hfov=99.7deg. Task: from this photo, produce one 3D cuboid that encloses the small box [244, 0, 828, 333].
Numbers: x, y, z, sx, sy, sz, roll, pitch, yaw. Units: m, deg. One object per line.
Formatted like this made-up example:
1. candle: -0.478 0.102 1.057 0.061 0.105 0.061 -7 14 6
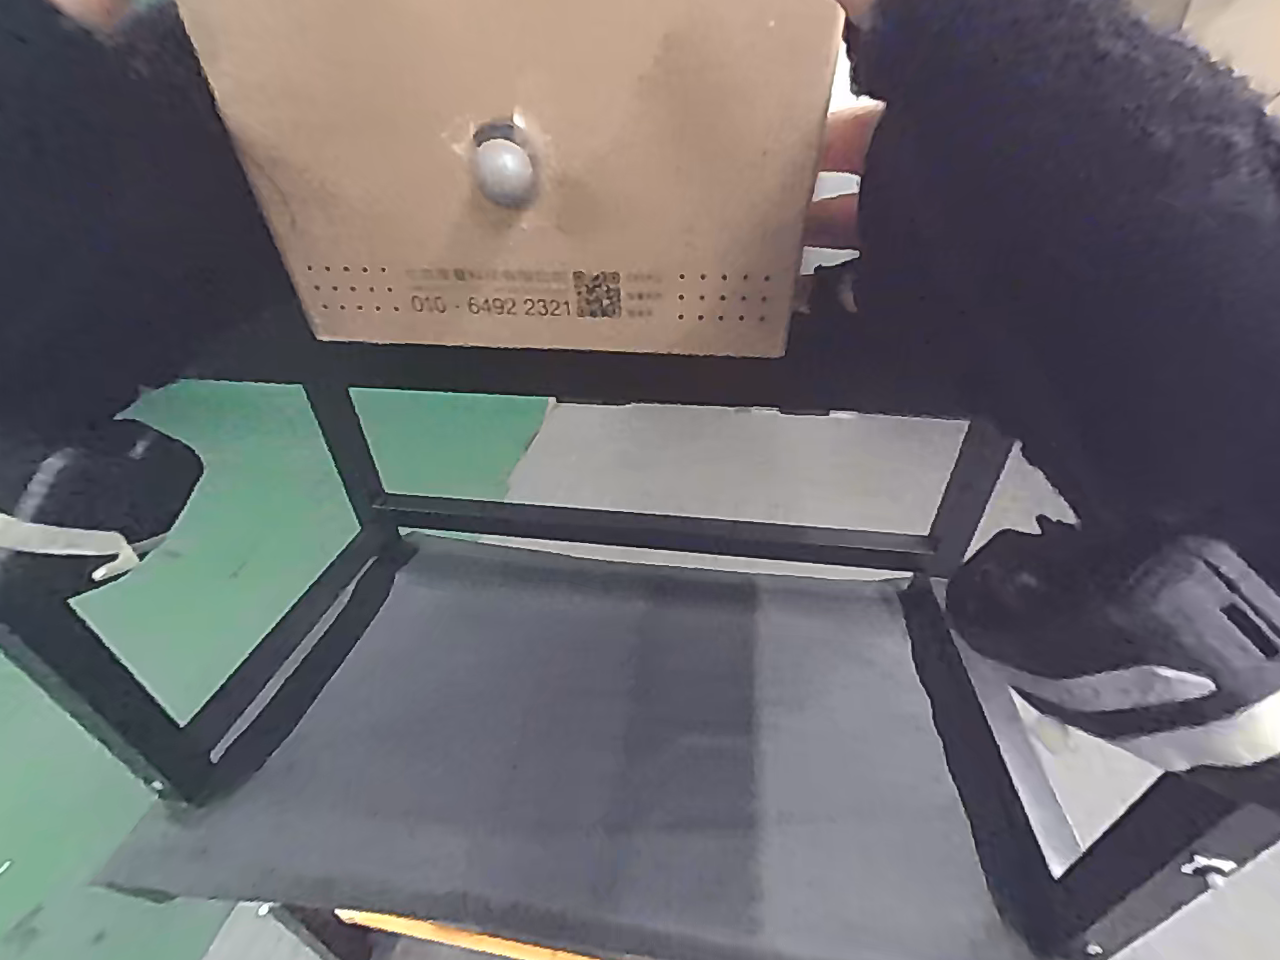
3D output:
1. small box: -0.026 -0.171 0.206 0.168 0.176 0.179 3 39 6
